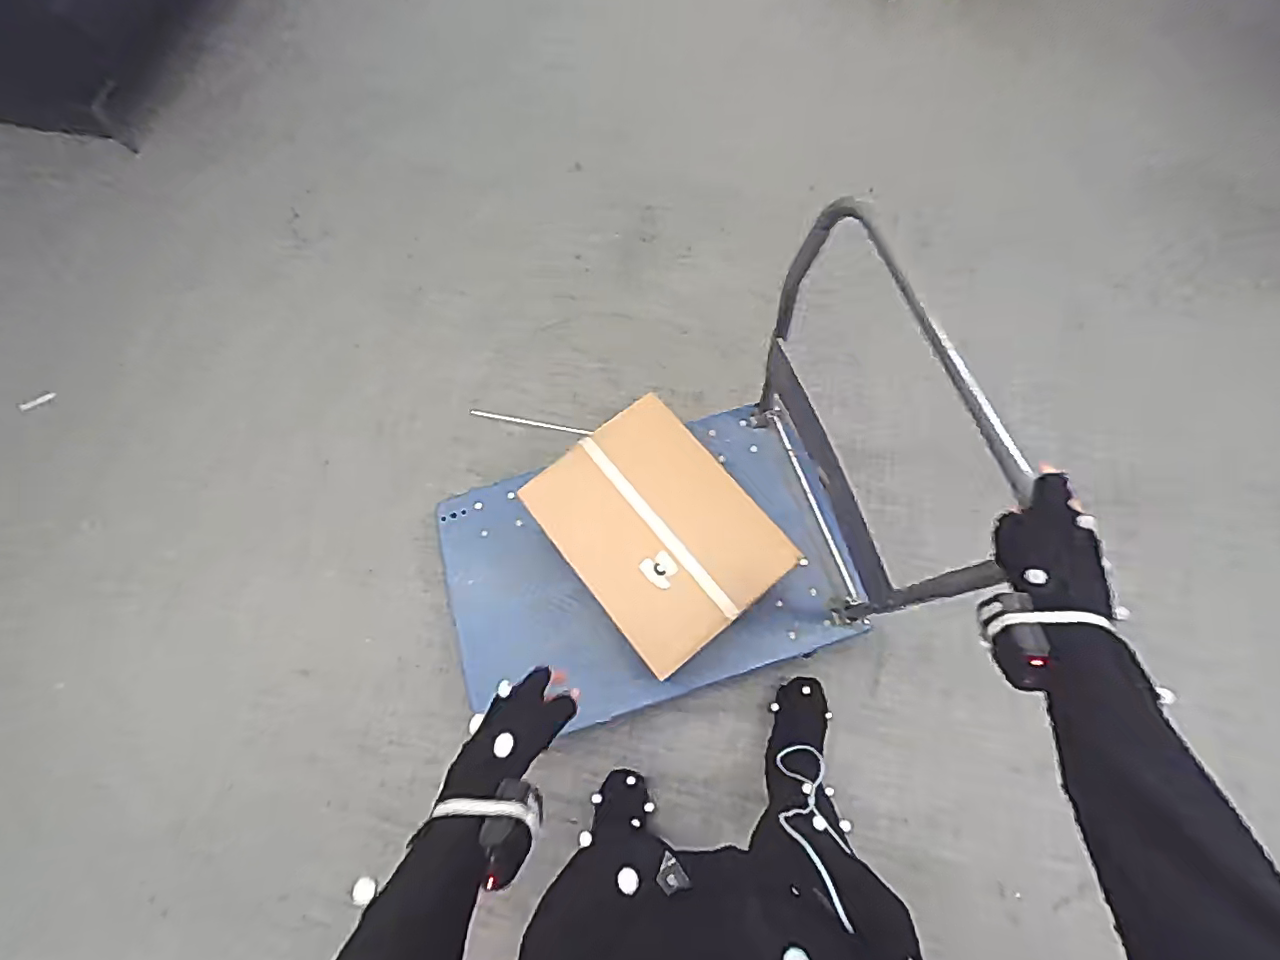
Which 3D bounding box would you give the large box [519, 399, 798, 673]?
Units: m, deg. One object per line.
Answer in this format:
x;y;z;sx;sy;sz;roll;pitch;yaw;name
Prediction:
0.028;0.124;1.078;0.320;0.320;0.408;-39;74;-10;large box
